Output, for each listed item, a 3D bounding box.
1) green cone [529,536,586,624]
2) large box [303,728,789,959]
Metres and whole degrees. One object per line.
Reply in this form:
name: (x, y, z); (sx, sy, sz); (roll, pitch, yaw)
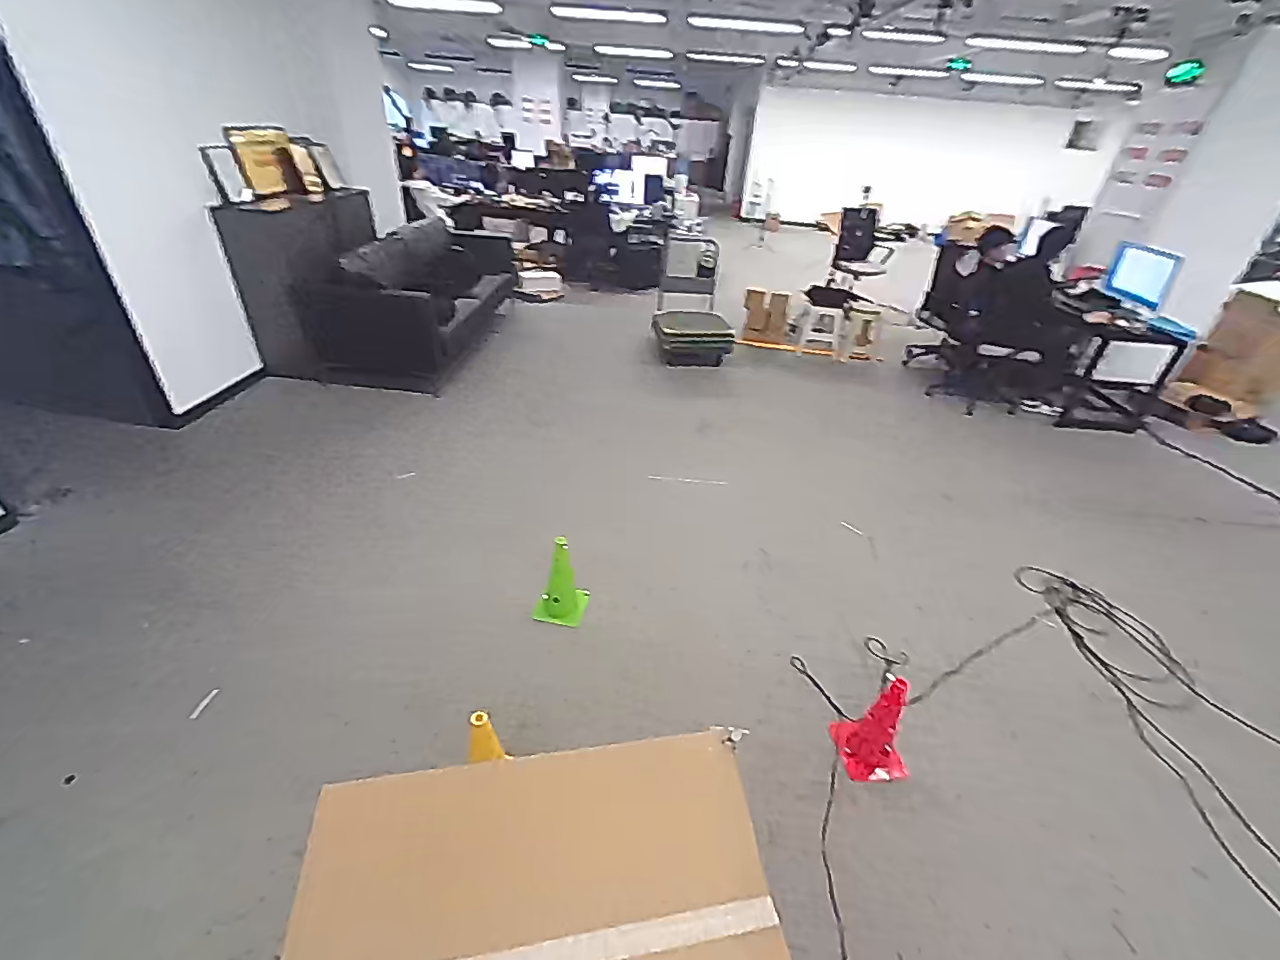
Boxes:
green cone: (-0.332, 0.369, 2.148); (0.200, 0.368, 0.202); (9, 35, 7)
large box: (-0.088, 0.495, 0.558); (0.408, 0.320, 0.320); (-3, 47, -10)
